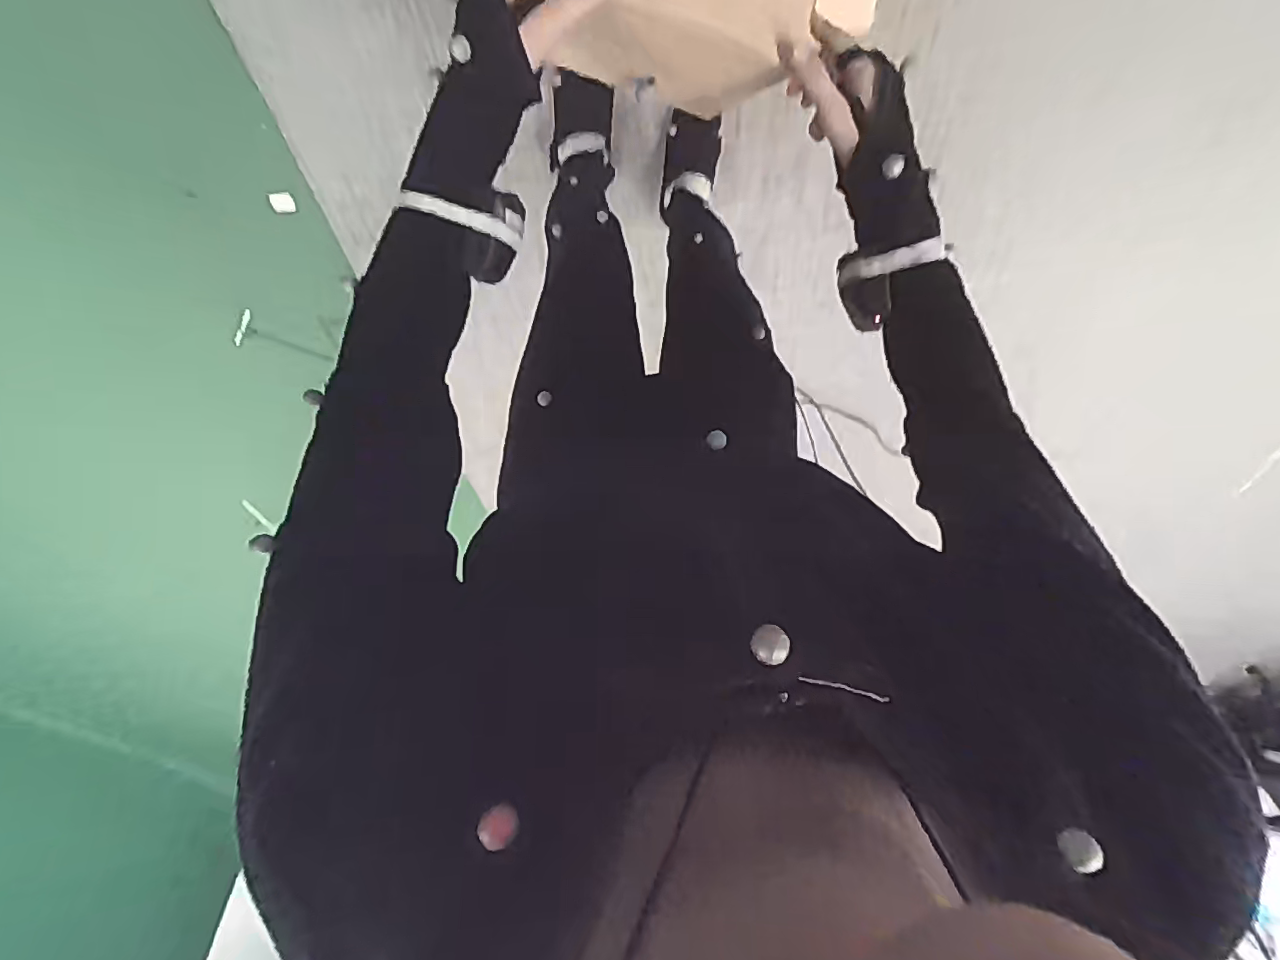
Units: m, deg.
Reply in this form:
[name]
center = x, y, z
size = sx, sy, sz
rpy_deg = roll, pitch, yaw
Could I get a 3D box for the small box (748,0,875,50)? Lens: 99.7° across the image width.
[small box]
center = 0.267, -0.805, 0.843
size = 0.168, 0.176, 0.179
rpy_deg = -5, 138, 3
